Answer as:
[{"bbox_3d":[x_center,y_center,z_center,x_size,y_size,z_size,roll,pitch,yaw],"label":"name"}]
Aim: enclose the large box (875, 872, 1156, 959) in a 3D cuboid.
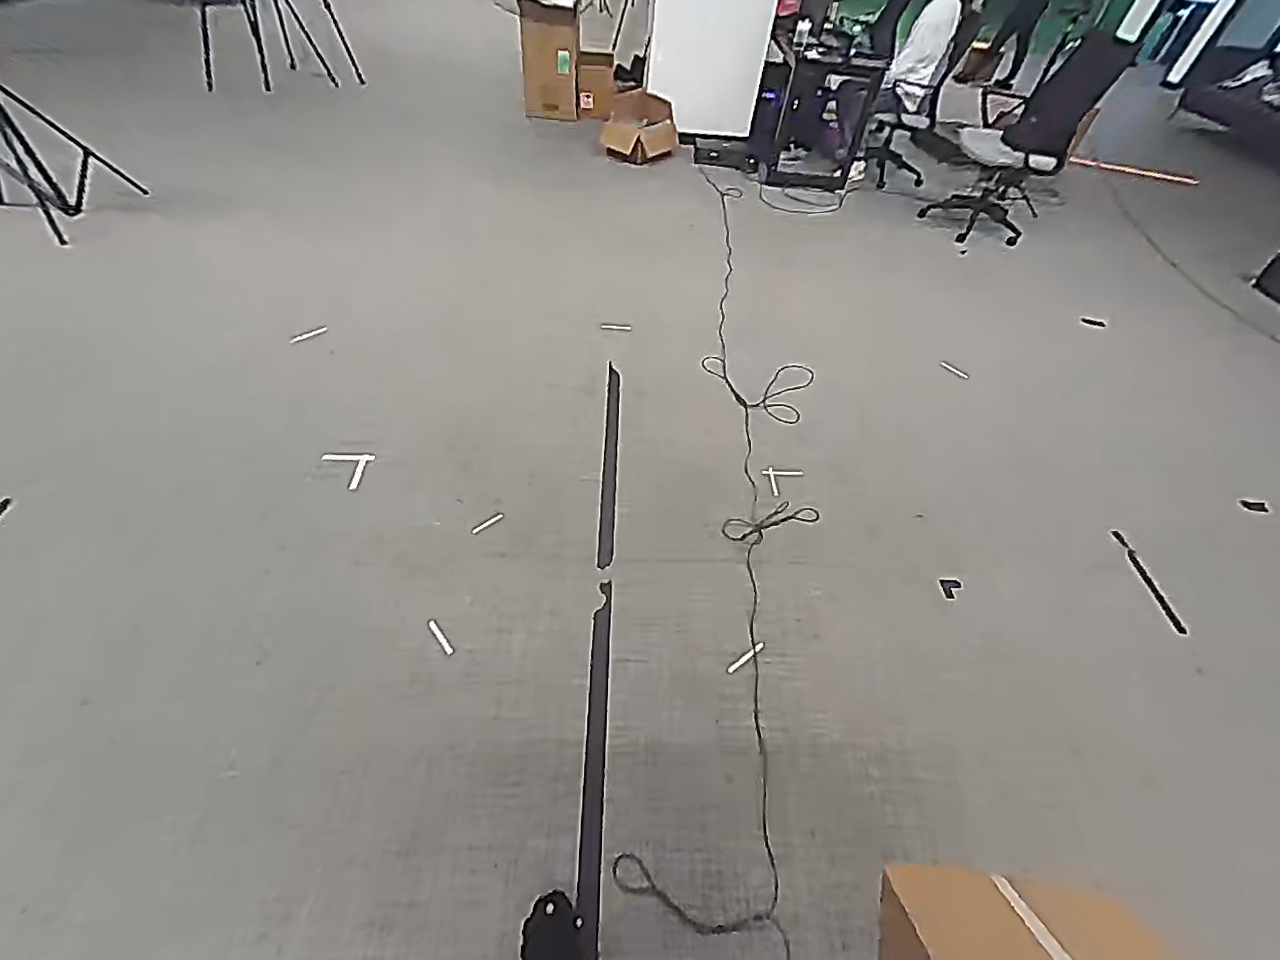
[{"bbox_3d":[0.471,0.728,0.576,0.320,0.408,0.320,5,88,5],"label":"large box"}]
